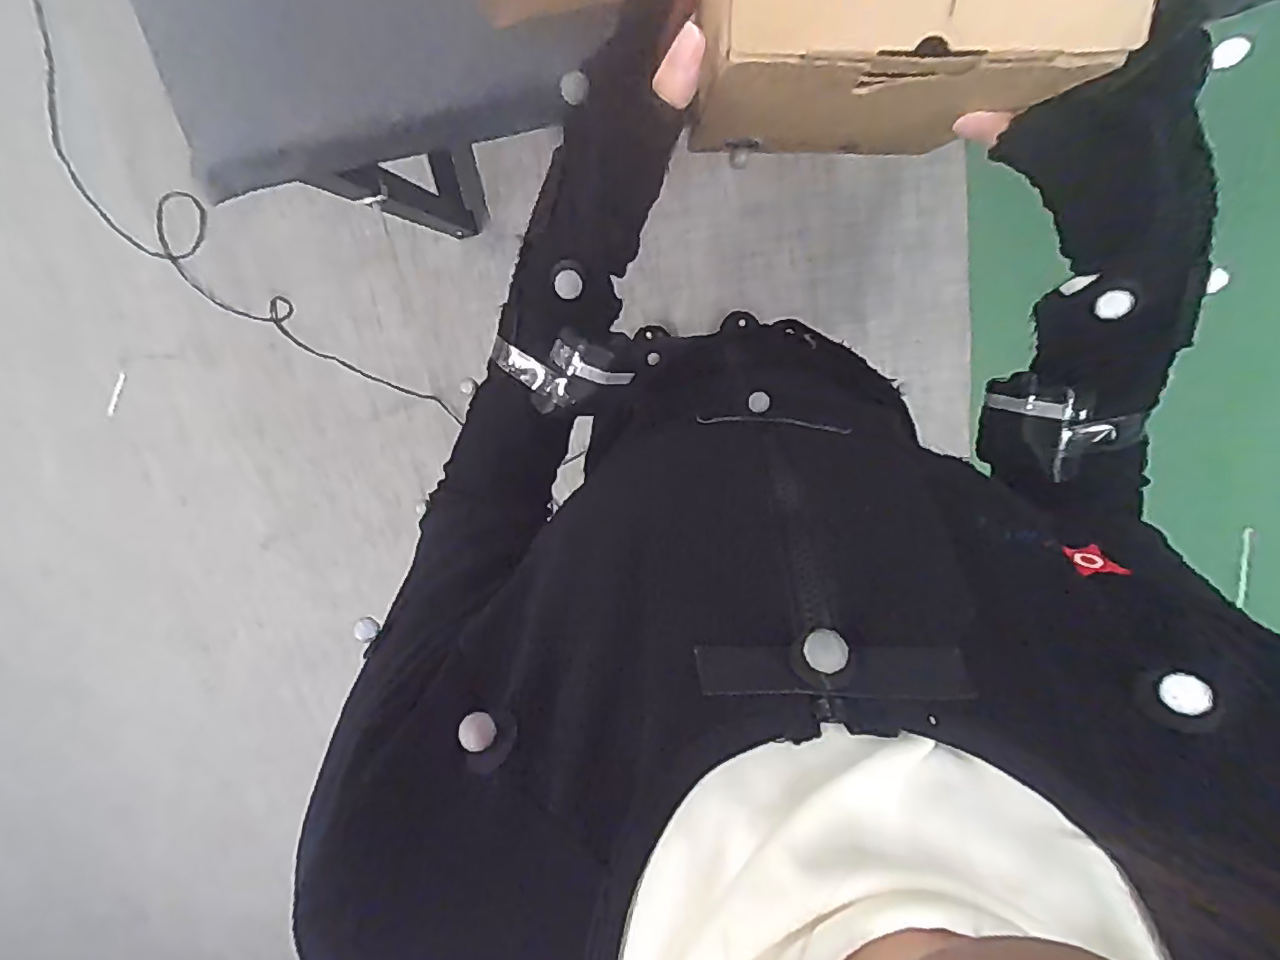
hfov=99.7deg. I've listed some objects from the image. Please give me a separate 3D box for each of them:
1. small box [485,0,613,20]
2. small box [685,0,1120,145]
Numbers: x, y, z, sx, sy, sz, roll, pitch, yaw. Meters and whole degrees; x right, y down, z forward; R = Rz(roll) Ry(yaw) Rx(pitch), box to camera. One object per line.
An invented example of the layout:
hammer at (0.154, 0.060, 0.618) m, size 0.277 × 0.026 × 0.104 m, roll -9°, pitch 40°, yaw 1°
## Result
small box at (-0.086, -0.545, 0.463) m, size 0.179 × 0.176 × 0.168 m, roll -8°, pitch 104°, yaw 6°
small box at (0.114, -0.284, 0.271) m, size 0.168 × 0.176 × 0.179 m, roll 0°, pitch 109°, yaw -1°
